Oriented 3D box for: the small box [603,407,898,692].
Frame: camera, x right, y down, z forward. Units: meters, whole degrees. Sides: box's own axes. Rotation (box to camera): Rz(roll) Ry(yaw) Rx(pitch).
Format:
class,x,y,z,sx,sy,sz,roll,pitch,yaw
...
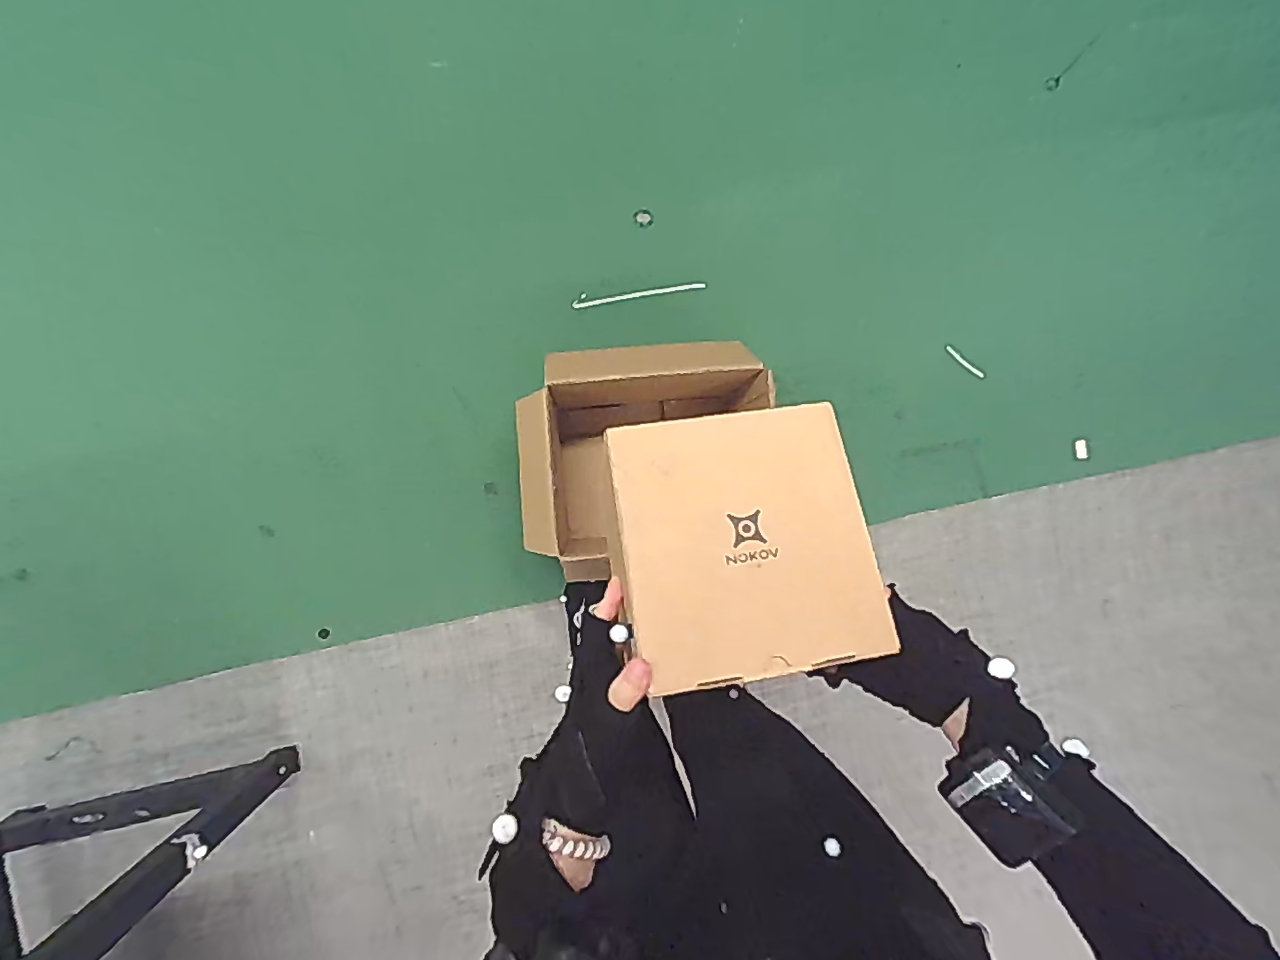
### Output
class,x,y,z,sx,sy,sz,roll,pitch,yaw
small box,0.064,0.061,0.434,0.168,0.176,0.179,-7,74,-8
